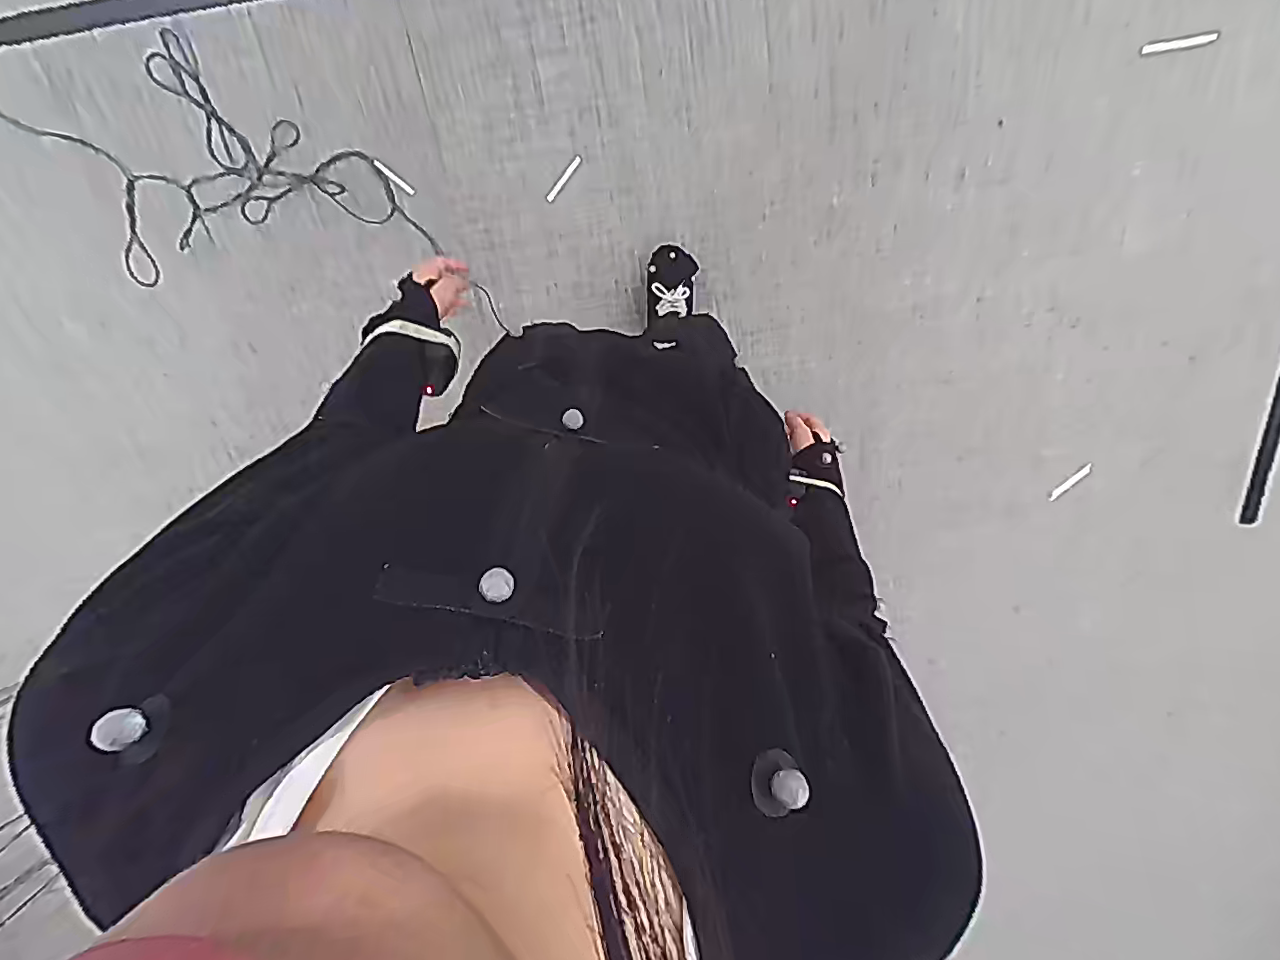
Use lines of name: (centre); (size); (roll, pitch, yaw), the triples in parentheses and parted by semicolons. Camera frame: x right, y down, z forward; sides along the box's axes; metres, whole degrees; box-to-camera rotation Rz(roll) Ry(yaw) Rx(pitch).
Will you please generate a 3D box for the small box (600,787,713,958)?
small box: (0.027, 0.630, 0.885); (0.168, 0.176, 0.179); (-4, 111, 3)
